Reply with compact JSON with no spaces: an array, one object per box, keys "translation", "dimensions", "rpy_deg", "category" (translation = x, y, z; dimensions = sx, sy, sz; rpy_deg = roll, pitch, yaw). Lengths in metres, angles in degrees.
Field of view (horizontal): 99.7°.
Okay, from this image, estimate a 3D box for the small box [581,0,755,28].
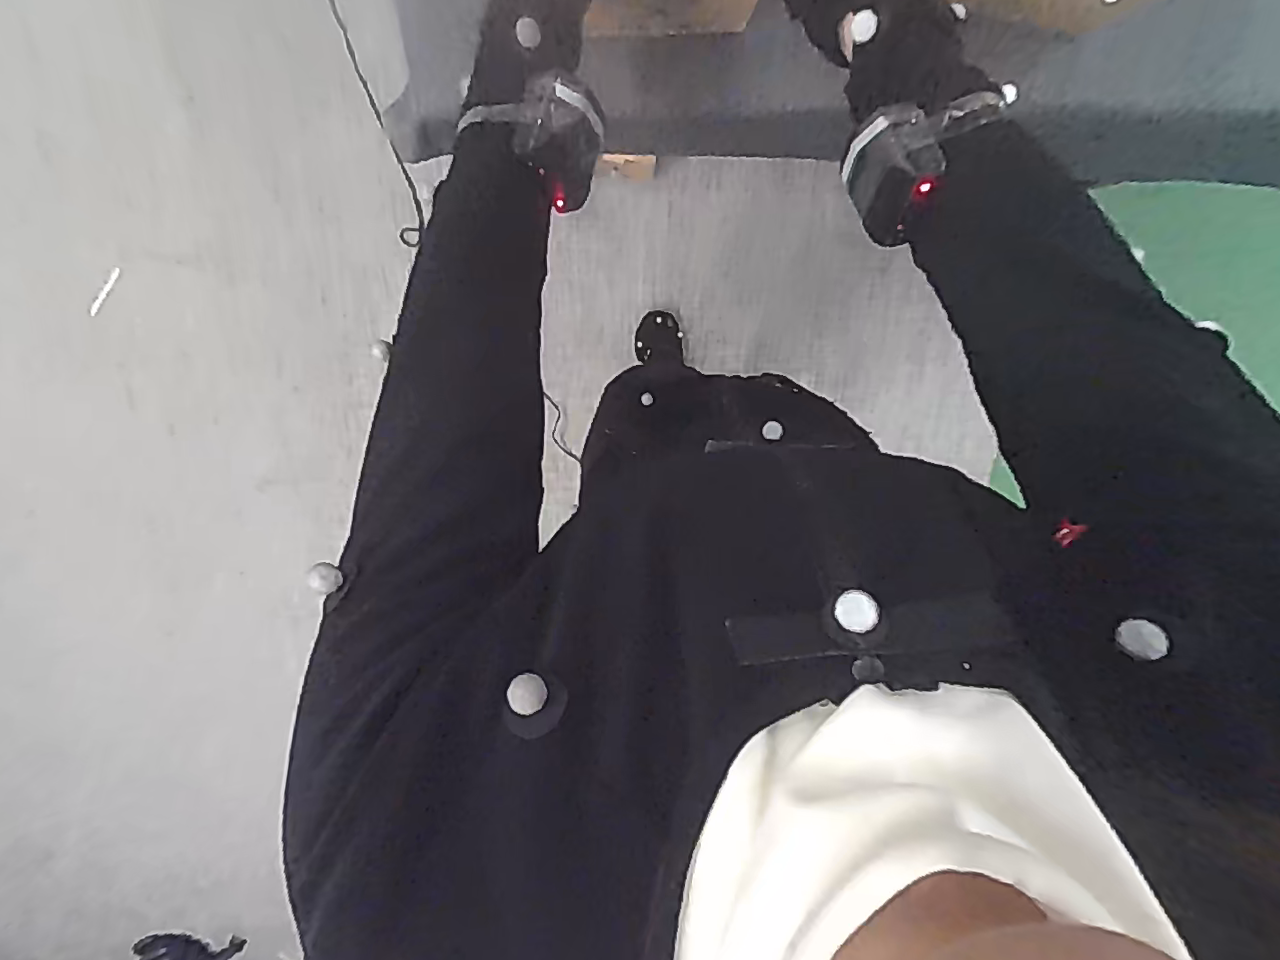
[{"translation":[0.024,-0.498,0.423],"dimensions":[0.168,0.176,0.179],"rpy_deg":[-2,110,0],"category":"small box"}]
